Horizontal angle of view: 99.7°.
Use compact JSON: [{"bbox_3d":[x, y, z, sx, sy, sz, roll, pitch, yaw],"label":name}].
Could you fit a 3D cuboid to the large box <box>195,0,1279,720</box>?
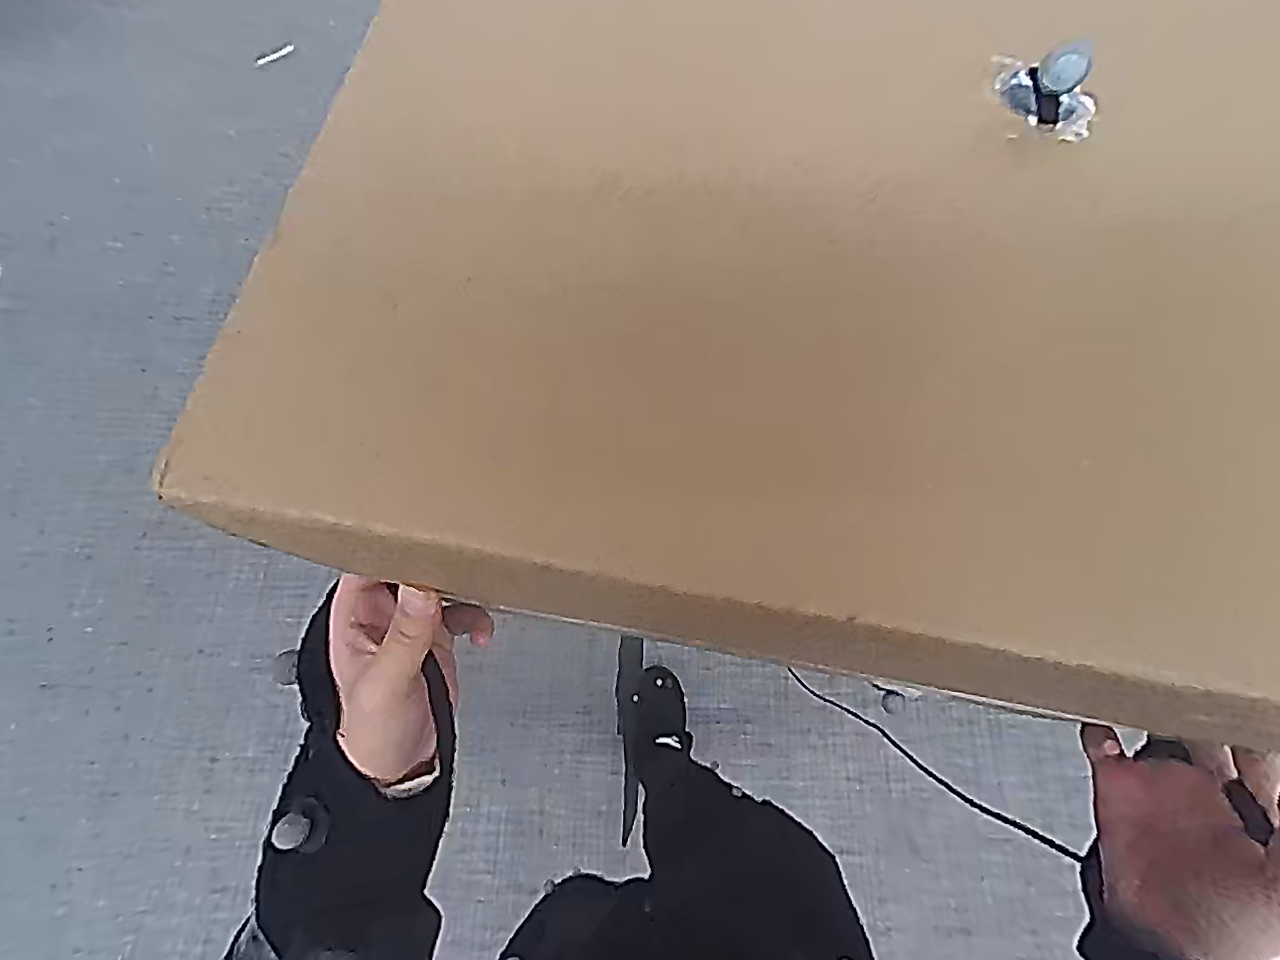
[{"bbox_3d":[0.107,-0.072,0.307,0.408,0.320,0.320,10,73,0],"label":"large box"}]
